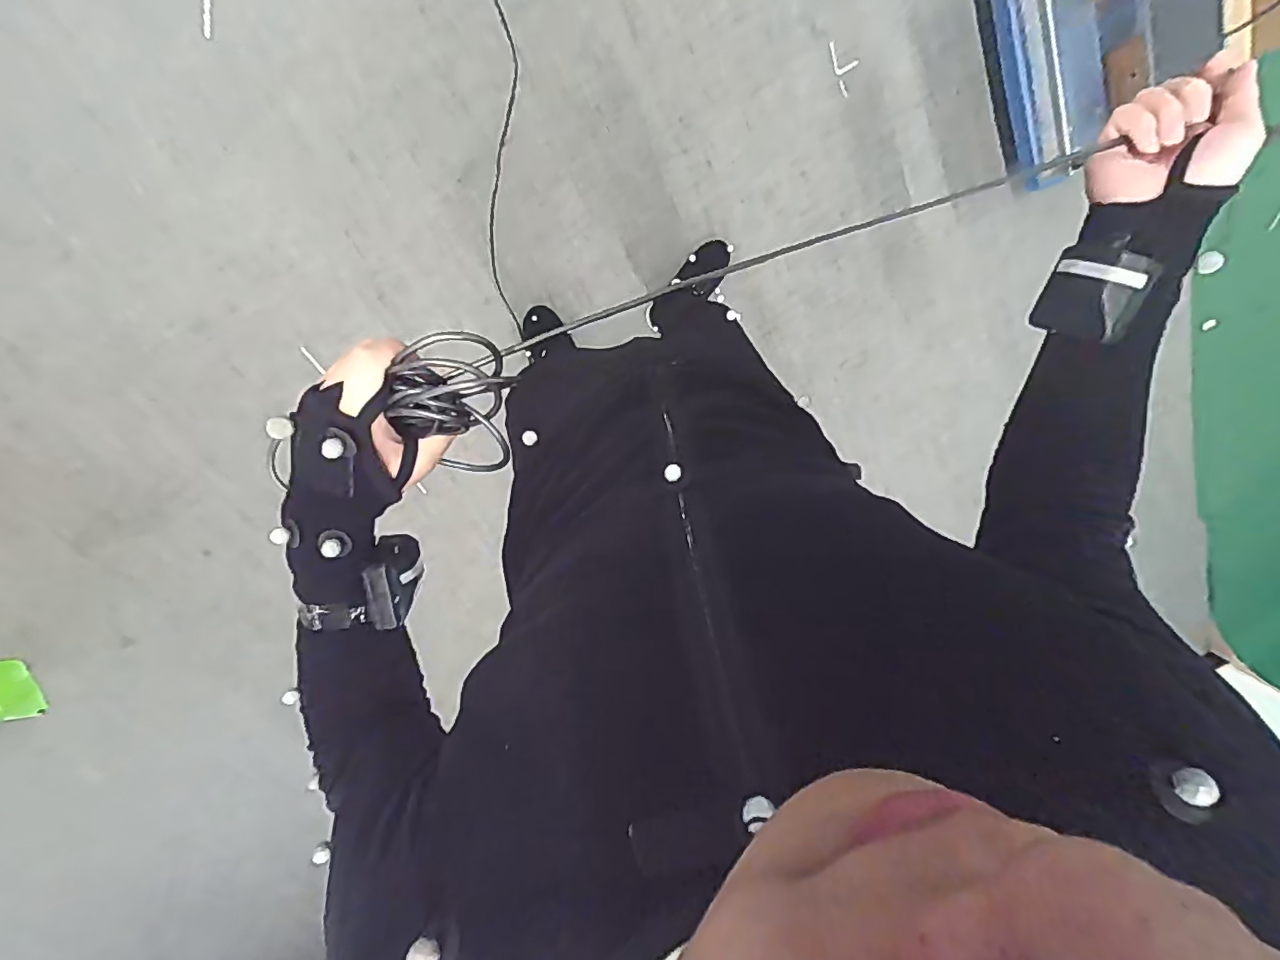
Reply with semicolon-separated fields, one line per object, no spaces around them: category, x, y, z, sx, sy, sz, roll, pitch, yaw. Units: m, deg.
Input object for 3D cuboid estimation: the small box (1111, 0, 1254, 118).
small box;1.265;-0.990;1.269;0.179;0.176;0.168;-30;115;2
